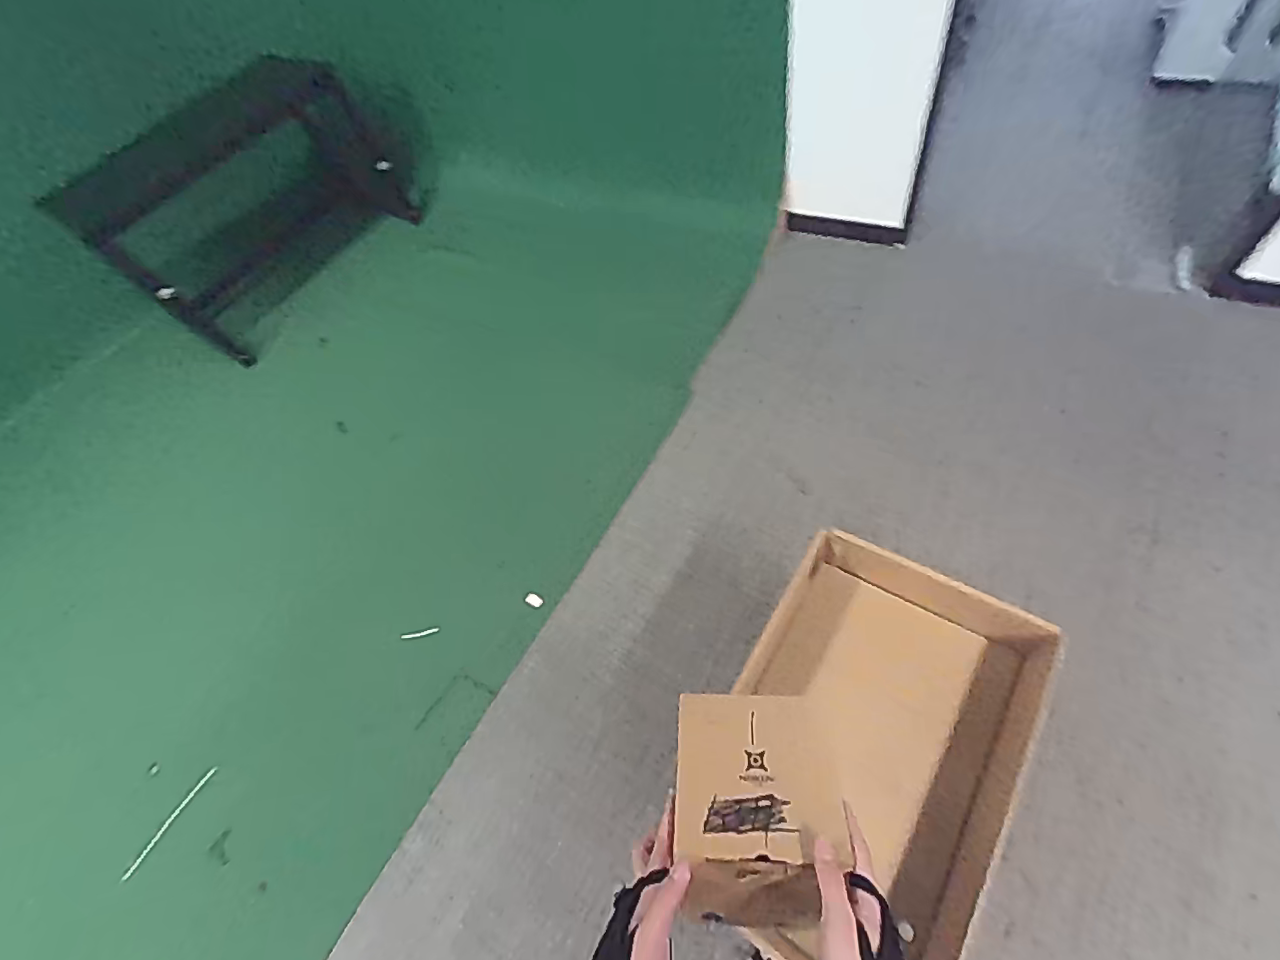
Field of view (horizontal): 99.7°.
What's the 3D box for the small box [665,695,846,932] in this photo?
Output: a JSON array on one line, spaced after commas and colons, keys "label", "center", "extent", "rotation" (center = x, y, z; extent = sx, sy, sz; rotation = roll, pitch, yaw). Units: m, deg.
[{"label": "small box", "center": [0.121, 0.365, 0.599], "extent": [0.168, 0.176, 0.179], "rotation": [-3, 33, 8]}]
